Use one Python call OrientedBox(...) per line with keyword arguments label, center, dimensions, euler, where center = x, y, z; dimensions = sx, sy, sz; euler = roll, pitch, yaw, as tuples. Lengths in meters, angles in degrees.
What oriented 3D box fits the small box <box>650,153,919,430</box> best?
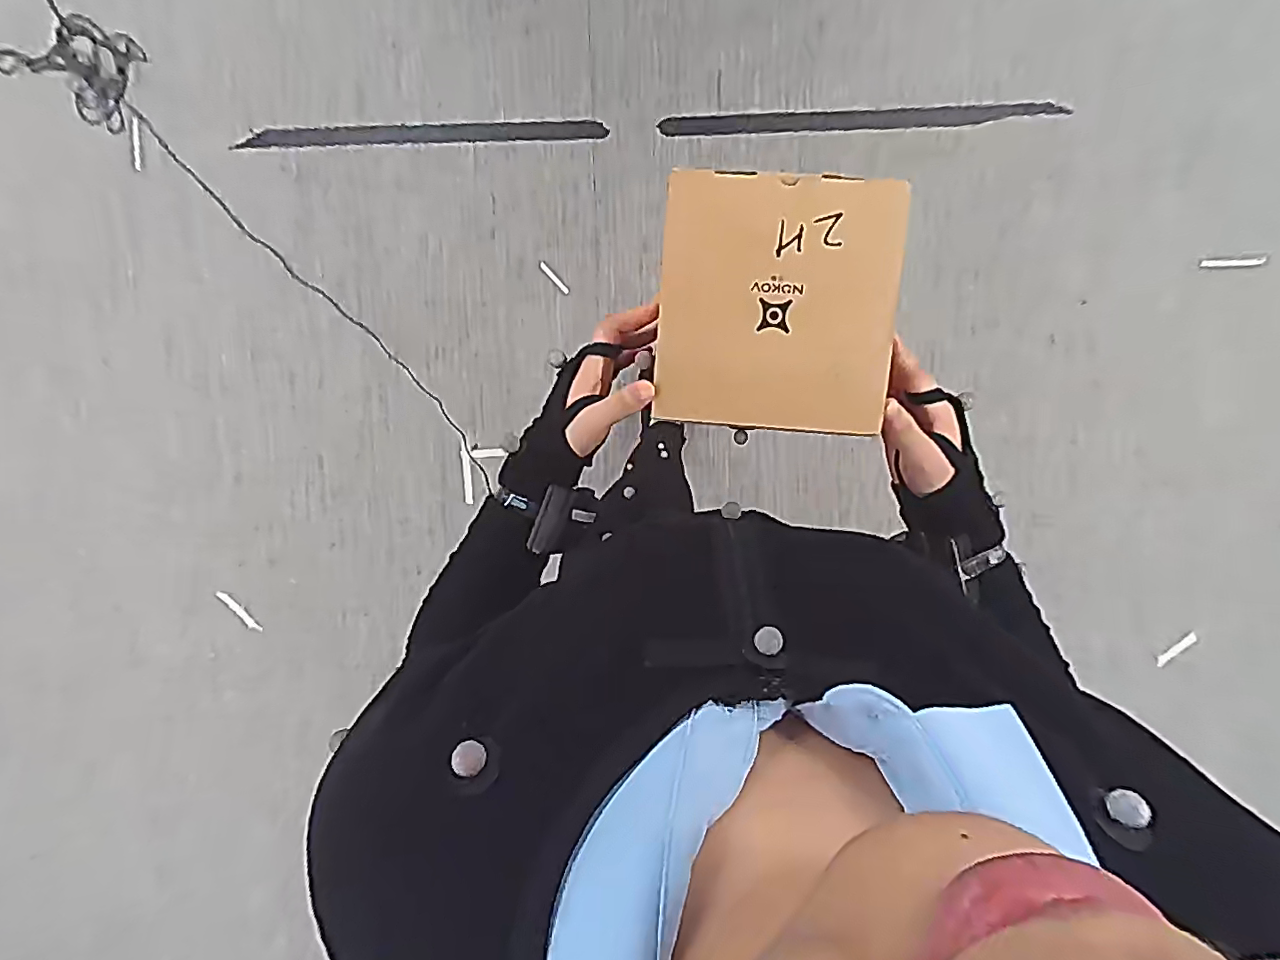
OrientedBox(label="small box", center=(0.101, -0.136, 0.449), dimensions=(0.168, 0.176, 0.179), euler=(5, 96, 3))
